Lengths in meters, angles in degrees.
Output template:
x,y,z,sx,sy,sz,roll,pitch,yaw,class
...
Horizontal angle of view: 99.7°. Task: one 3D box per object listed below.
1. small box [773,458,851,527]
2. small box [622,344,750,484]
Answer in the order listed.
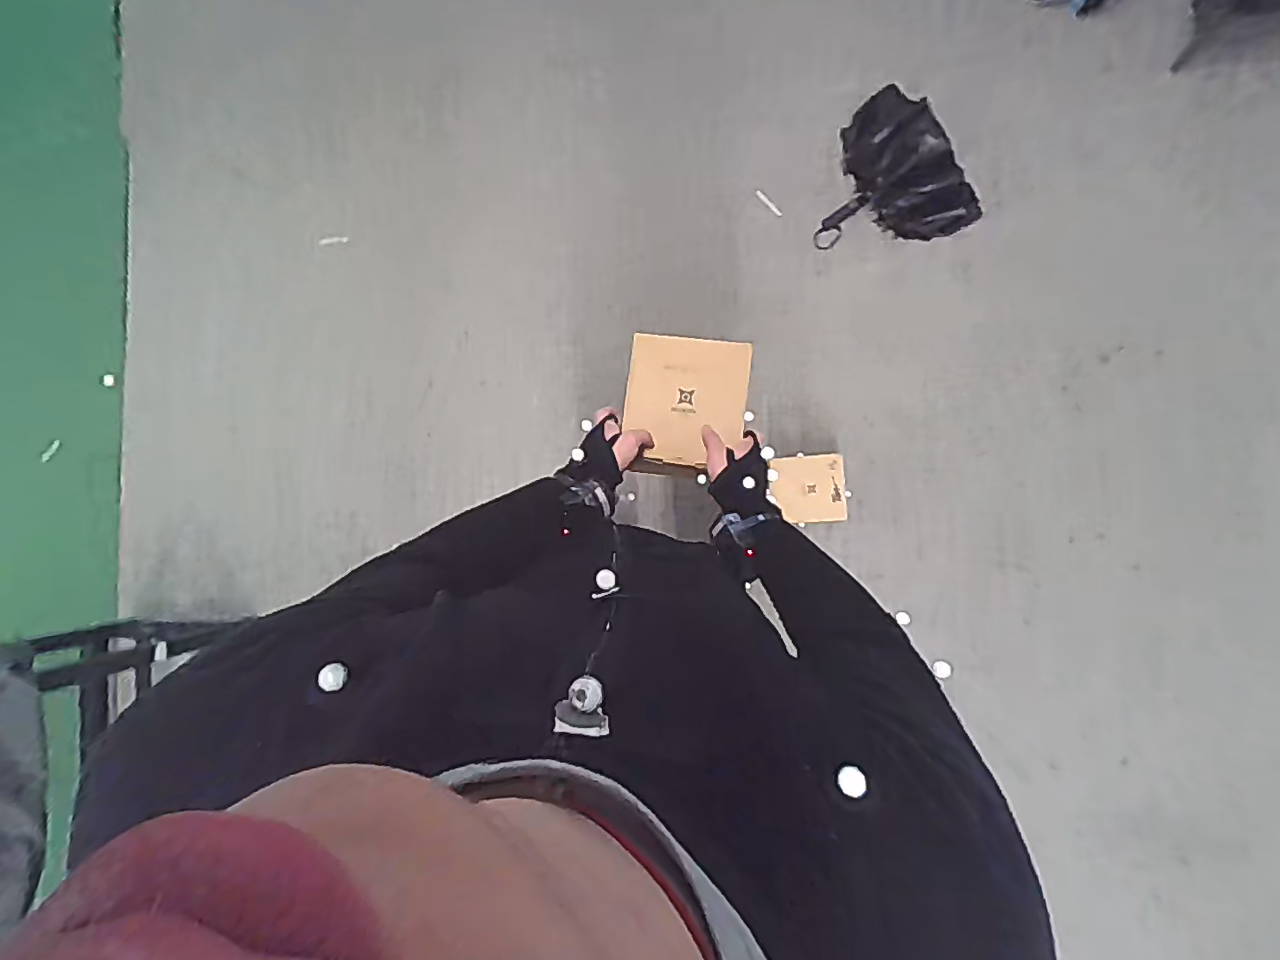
x,y,z,sx,sy,sz,roll,pitch,yaw,class
0.444,0.037,1.419,0.179,0.176,0.168,-5,87,12,small box
0.069,-0.090,0.826,0.168,0.176,0.179,5,83,3,small box
